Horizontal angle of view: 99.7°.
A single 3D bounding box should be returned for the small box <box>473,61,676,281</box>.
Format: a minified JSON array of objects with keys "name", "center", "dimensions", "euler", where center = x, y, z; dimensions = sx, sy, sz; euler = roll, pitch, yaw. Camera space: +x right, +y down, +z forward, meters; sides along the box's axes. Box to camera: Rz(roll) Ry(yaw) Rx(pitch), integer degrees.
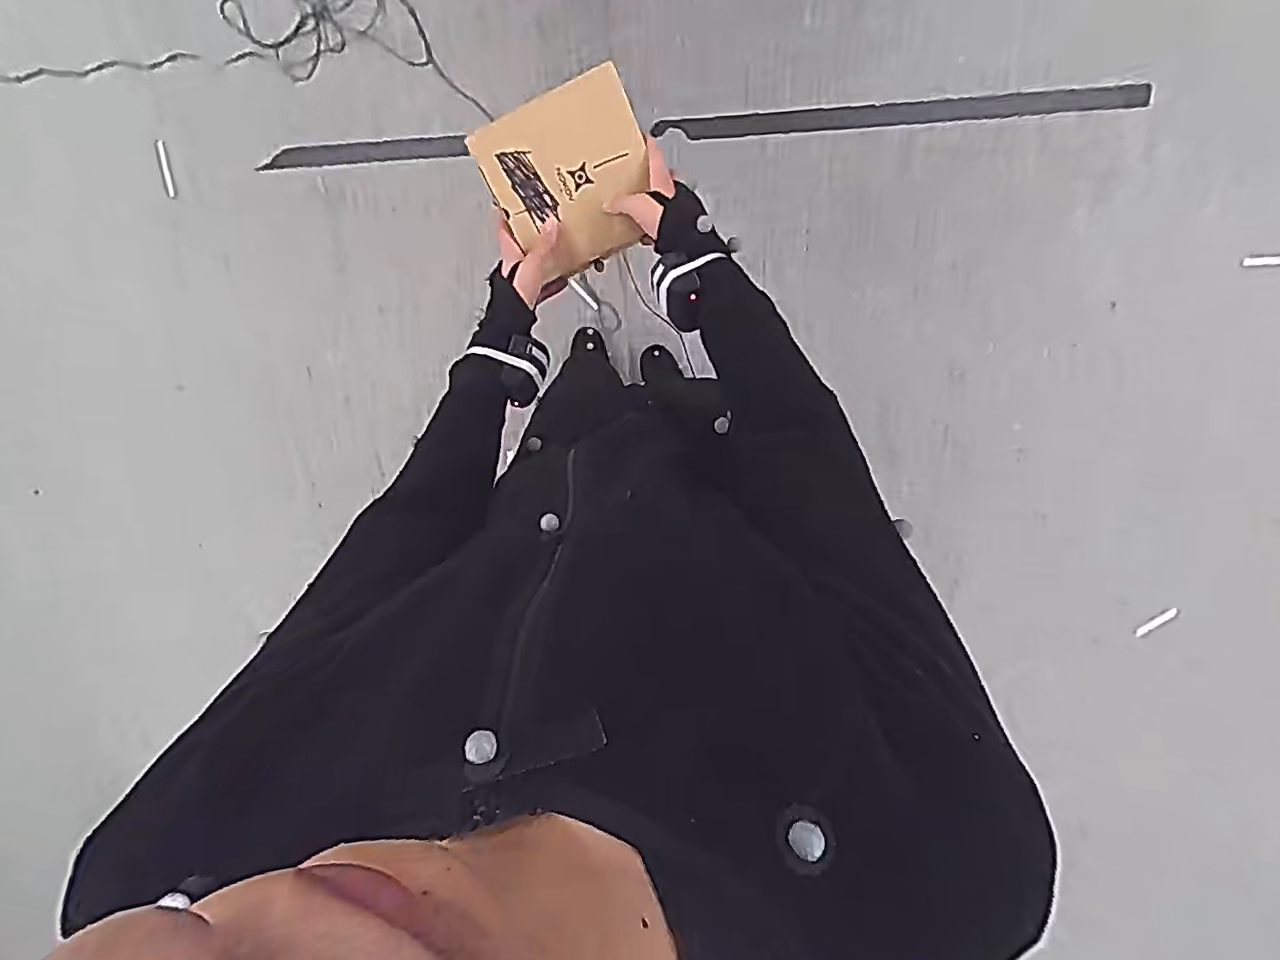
[{"name":"small box","center":[-0.074,-0.357,0.666],"dimensions":[0.179,0.176,0.168],"euler":[-24,109,3]}]
